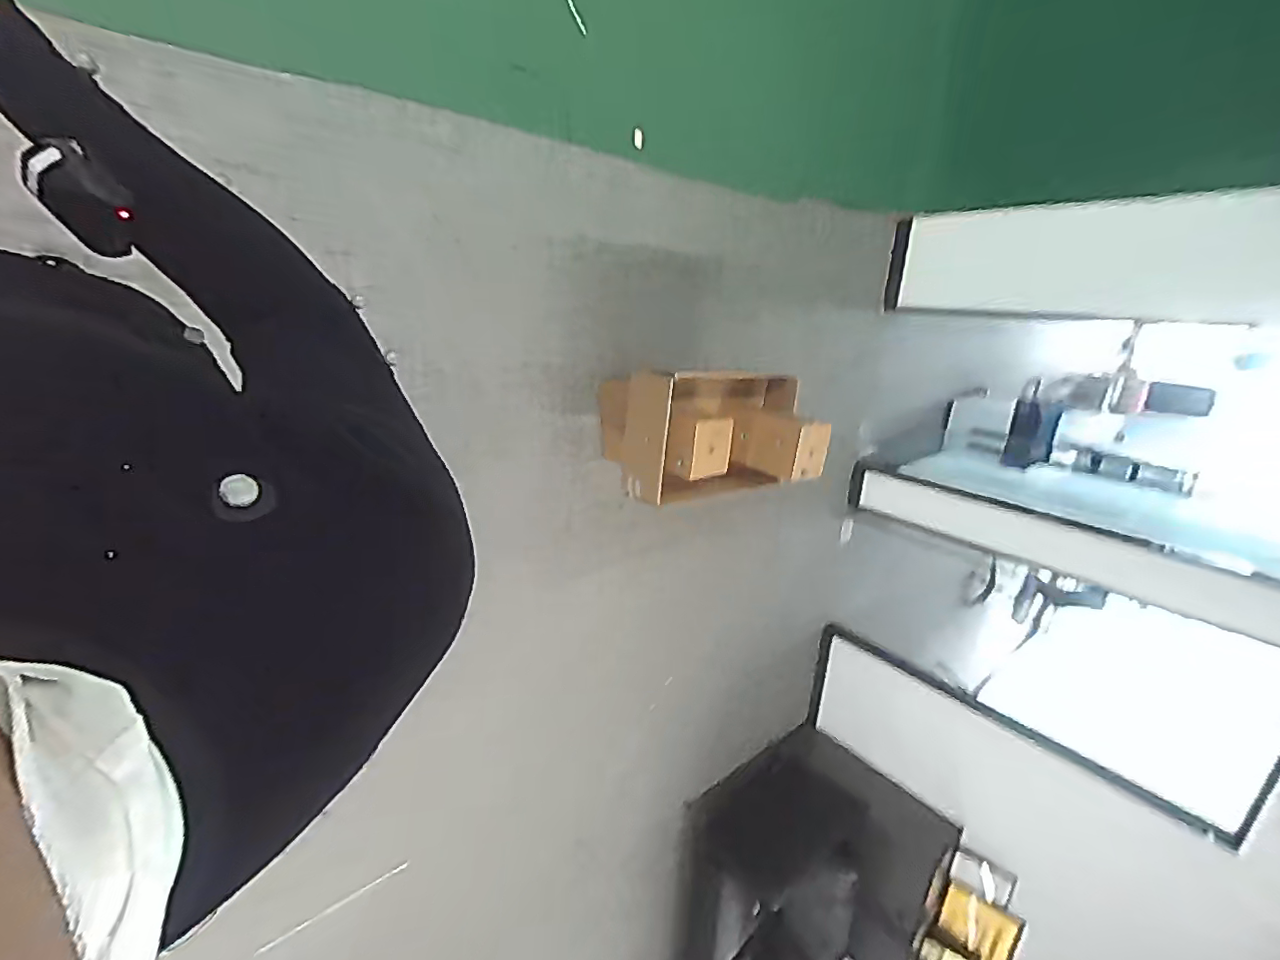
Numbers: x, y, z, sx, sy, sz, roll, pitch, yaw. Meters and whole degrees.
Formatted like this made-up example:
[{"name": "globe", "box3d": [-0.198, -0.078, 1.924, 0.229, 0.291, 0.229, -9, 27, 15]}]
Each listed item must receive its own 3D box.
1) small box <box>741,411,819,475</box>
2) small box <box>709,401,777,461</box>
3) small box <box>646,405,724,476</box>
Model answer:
[{"name": "small box", "box3d": [0.447, -0.126, 1.741, 0.168, 0.176, 0.179, -7, 110, -39]}, {"name": "small box", "box3d": [0.339, -0.173, 1.855, 0.168, 0.176, 0.179, -6, 111, -41]}, {"name": "small box", "box3d": [0.135, -0.128, 1.678, 0.168, 0.176, 0.179, -12, 114, -41]}]
